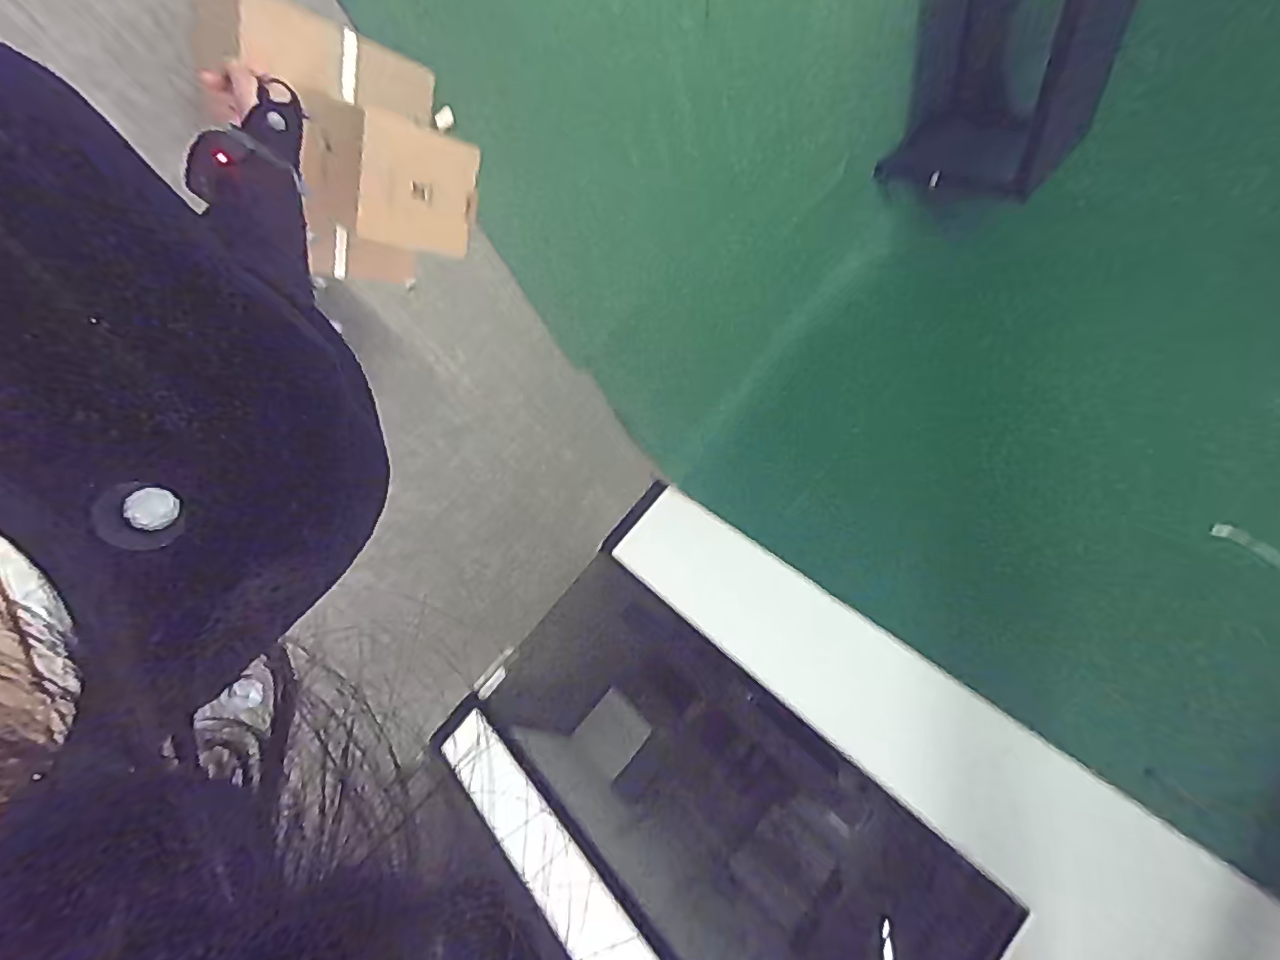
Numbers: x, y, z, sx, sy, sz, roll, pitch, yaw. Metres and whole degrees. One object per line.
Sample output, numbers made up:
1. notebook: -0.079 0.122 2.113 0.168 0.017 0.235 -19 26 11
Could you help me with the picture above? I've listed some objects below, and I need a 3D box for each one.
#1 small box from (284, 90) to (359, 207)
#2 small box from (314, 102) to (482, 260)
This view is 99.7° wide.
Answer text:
1. small box: -0.486 -0.547 0.938 0.179 0.176 0.168 -4 122 -49
2. small box: -0.380 -0.465 0.845 0.179 0.176 0.168 -8 124 -48
